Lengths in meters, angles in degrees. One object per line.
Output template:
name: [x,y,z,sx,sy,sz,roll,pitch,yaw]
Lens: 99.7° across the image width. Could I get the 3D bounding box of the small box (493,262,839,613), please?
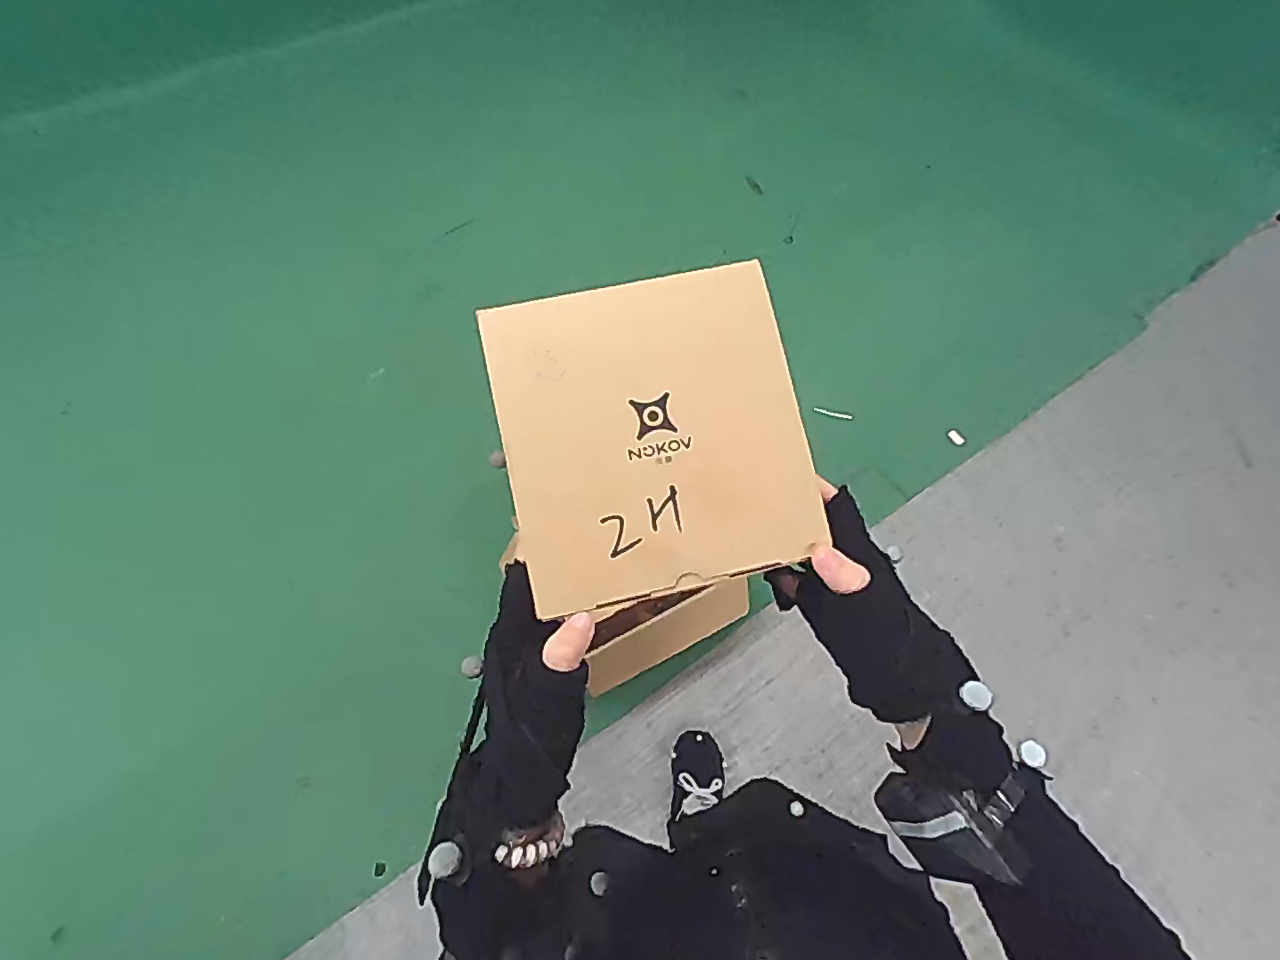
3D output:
small box: [0.007,-0.018,0.376,0.168,0.176,0.179,-12,84,-5]
